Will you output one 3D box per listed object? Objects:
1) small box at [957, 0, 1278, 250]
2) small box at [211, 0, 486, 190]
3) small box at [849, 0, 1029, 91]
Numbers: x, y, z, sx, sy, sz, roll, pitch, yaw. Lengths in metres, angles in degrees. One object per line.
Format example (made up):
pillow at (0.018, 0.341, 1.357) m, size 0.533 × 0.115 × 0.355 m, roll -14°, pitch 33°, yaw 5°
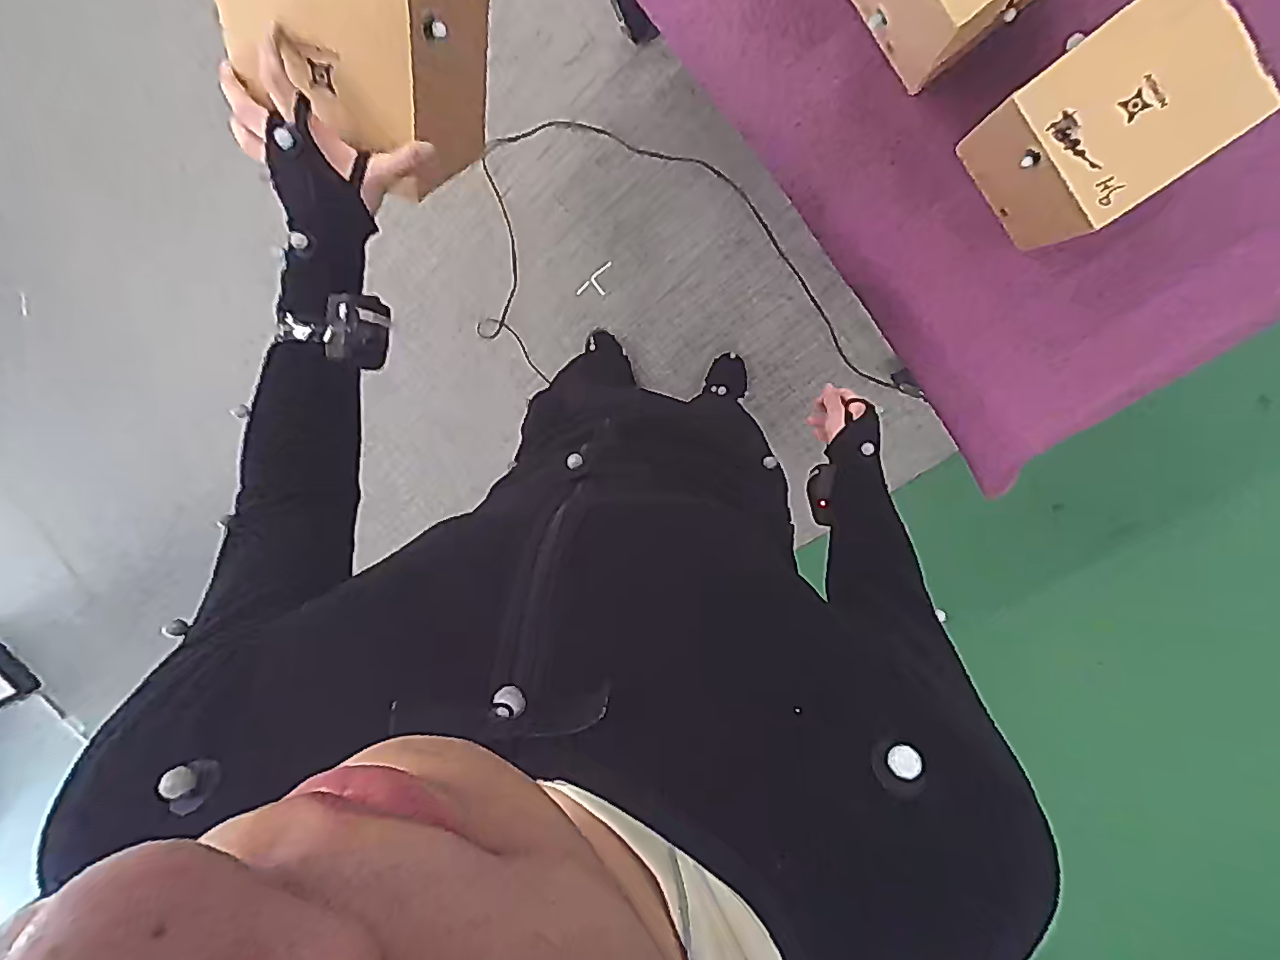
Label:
small box at (0.499, -0.385, 0.598) m, size 0.179 × 0.176 × 0.168 m, roll -35°, pitch 96°, yaw 18°
small box at (-0.253, -0.408, 0.502) m, size 0.168 × 0.176 × 0.179 m, roll 17°, pitch 134°, yaw -2°
small box at (0.346, -0.576, 0.577) m, size 0.179 × 0.176 × 0.168 m, roll -34°, pitch 96°, yaw 19°
